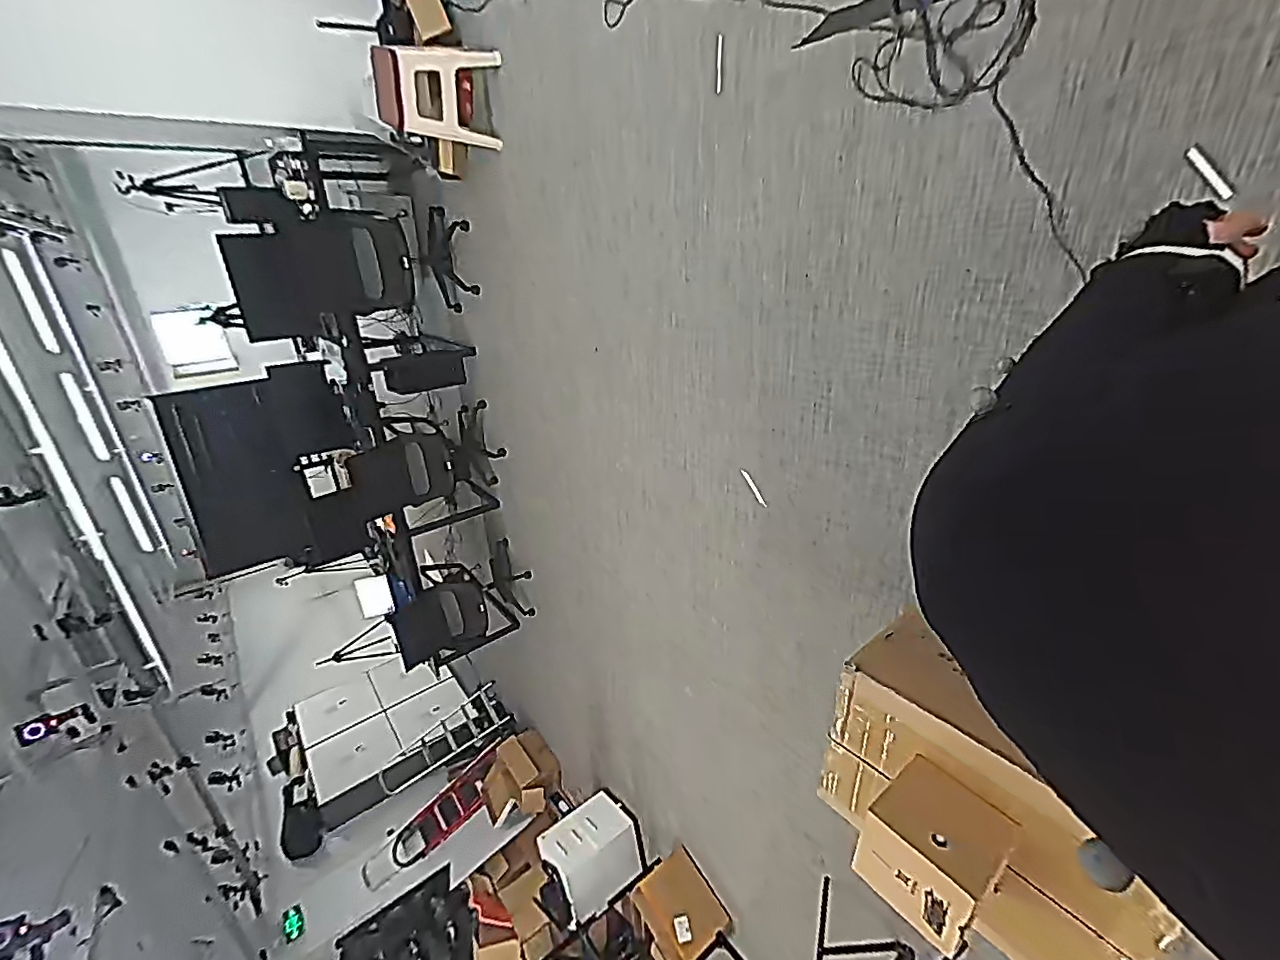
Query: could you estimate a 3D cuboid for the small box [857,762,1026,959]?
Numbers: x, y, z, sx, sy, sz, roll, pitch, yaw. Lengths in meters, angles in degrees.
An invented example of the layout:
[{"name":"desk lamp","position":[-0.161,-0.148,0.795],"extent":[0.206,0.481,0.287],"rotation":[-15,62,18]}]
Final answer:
[{"name":"small box","position":[0.496,0.616,0.895],"extent":[0.179,0.176,0.168],"rotation":[29,128,46]}]
